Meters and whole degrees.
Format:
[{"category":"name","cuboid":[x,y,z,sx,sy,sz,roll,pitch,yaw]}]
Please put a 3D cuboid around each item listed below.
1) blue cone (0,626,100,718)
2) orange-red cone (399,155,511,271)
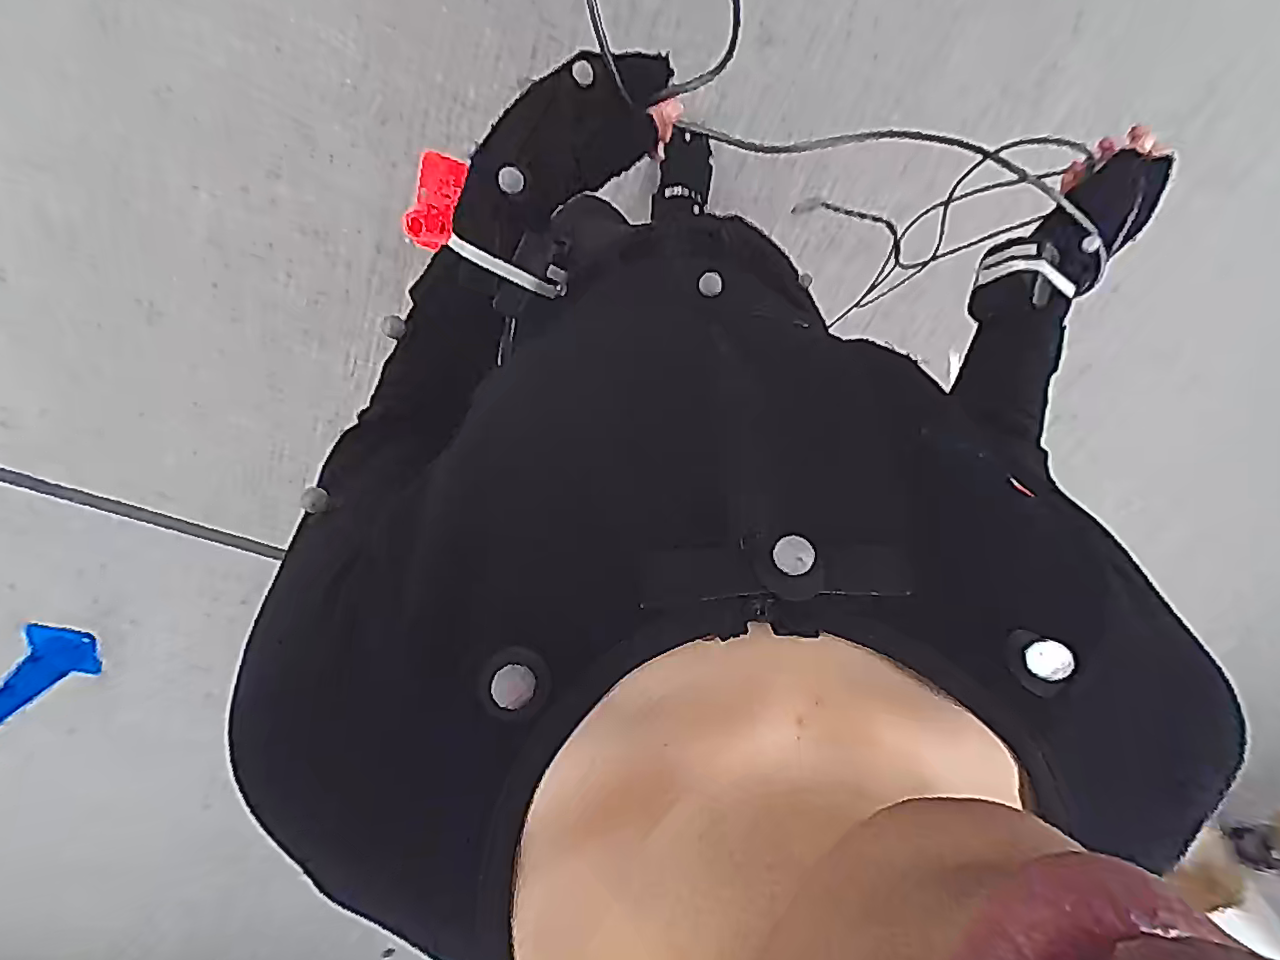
[{"category":"blue cone","cuboid":[-1.876,0.641,1.629,0.193,0.380,0.192,16,117,-12]},{"category":"orange-red cone","cuboid":[-0.399,-0.514,1.066,0.199,0.360,0.198,17,116,-11]}]
